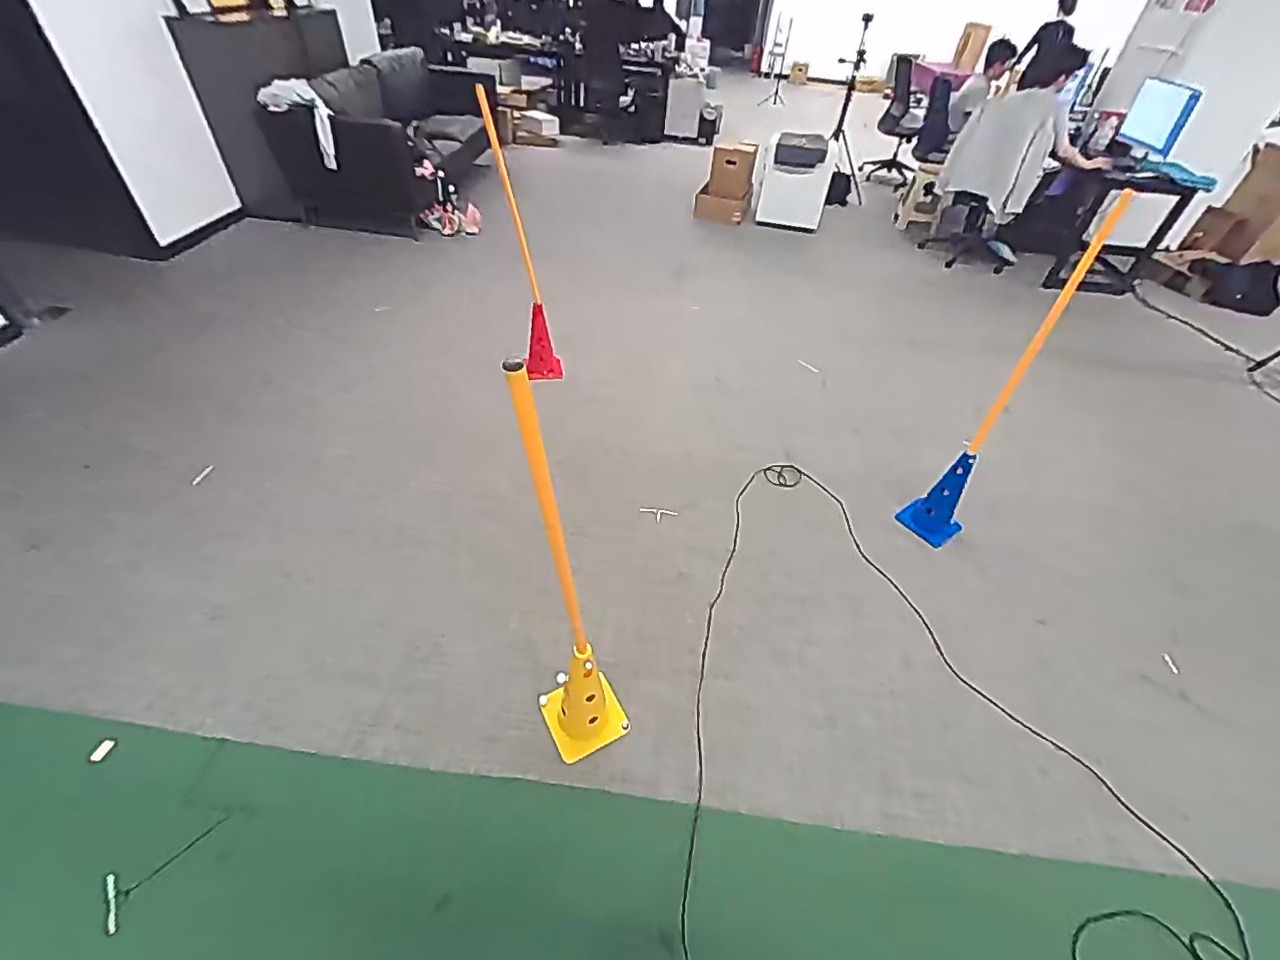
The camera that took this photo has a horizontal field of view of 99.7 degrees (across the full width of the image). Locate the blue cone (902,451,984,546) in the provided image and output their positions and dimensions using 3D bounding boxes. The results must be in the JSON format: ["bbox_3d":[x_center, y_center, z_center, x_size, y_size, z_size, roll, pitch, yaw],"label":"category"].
[{"bbox_3d":[1.159,0.044,2.014,0.193,0.380,0.192,-25,50,-30],"label":"blue cone"}]
